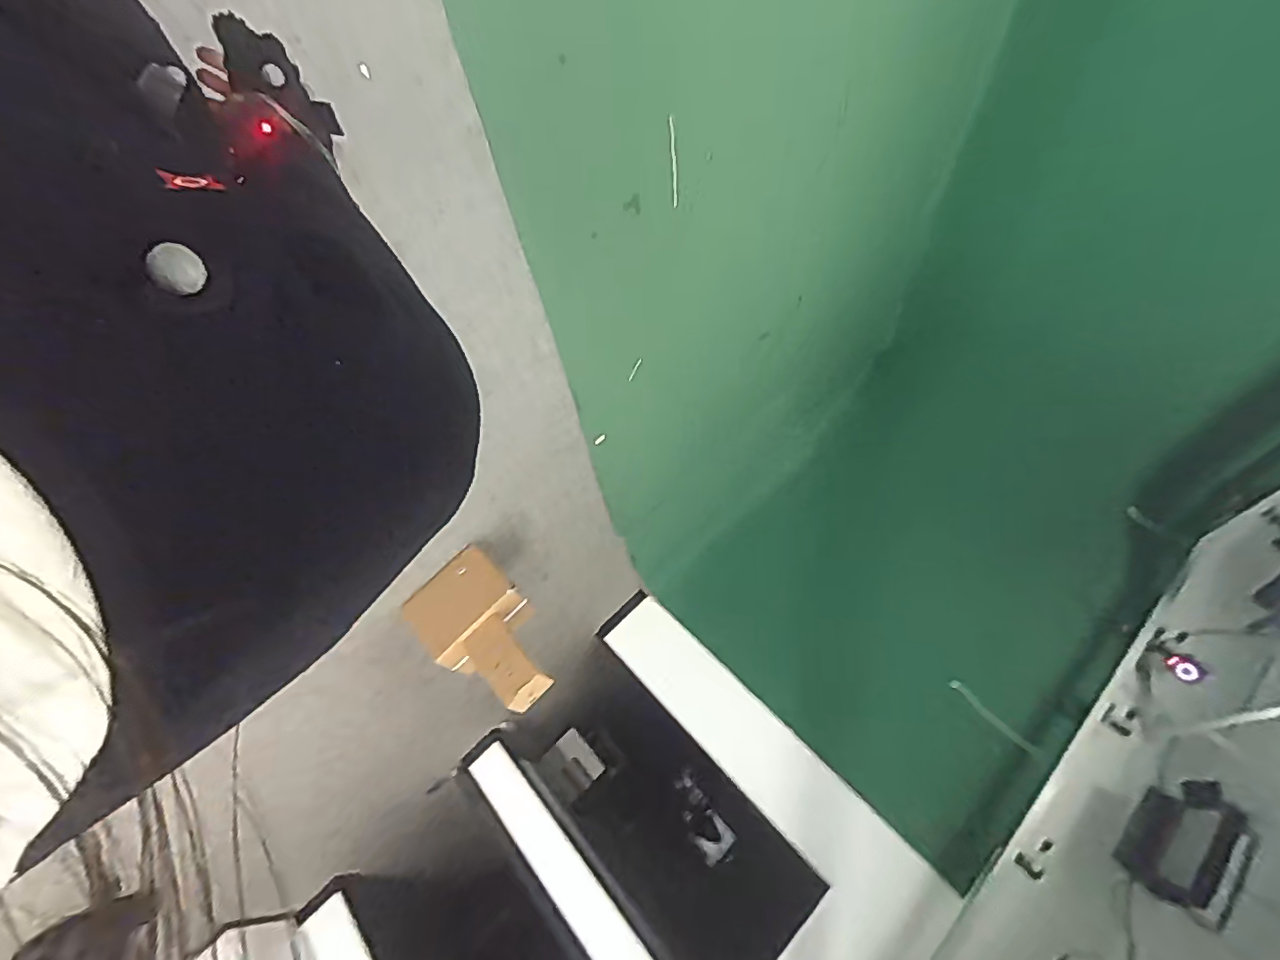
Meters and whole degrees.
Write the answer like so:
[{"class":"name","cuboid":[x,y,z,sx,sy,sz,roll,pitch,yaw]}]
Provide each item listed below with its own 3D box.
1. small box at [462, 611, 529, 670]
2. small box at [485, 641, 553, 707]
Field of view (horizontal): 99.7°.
[{"class":"small box","cuboid":[-0.592,0.666,2.212,0.179,0.176,0.168,-42,150,-12]},{"class":"small box","cuboid":[-0.481,0.763,2.141,0.168,0.176,0.179,-43,150,-14]}]
